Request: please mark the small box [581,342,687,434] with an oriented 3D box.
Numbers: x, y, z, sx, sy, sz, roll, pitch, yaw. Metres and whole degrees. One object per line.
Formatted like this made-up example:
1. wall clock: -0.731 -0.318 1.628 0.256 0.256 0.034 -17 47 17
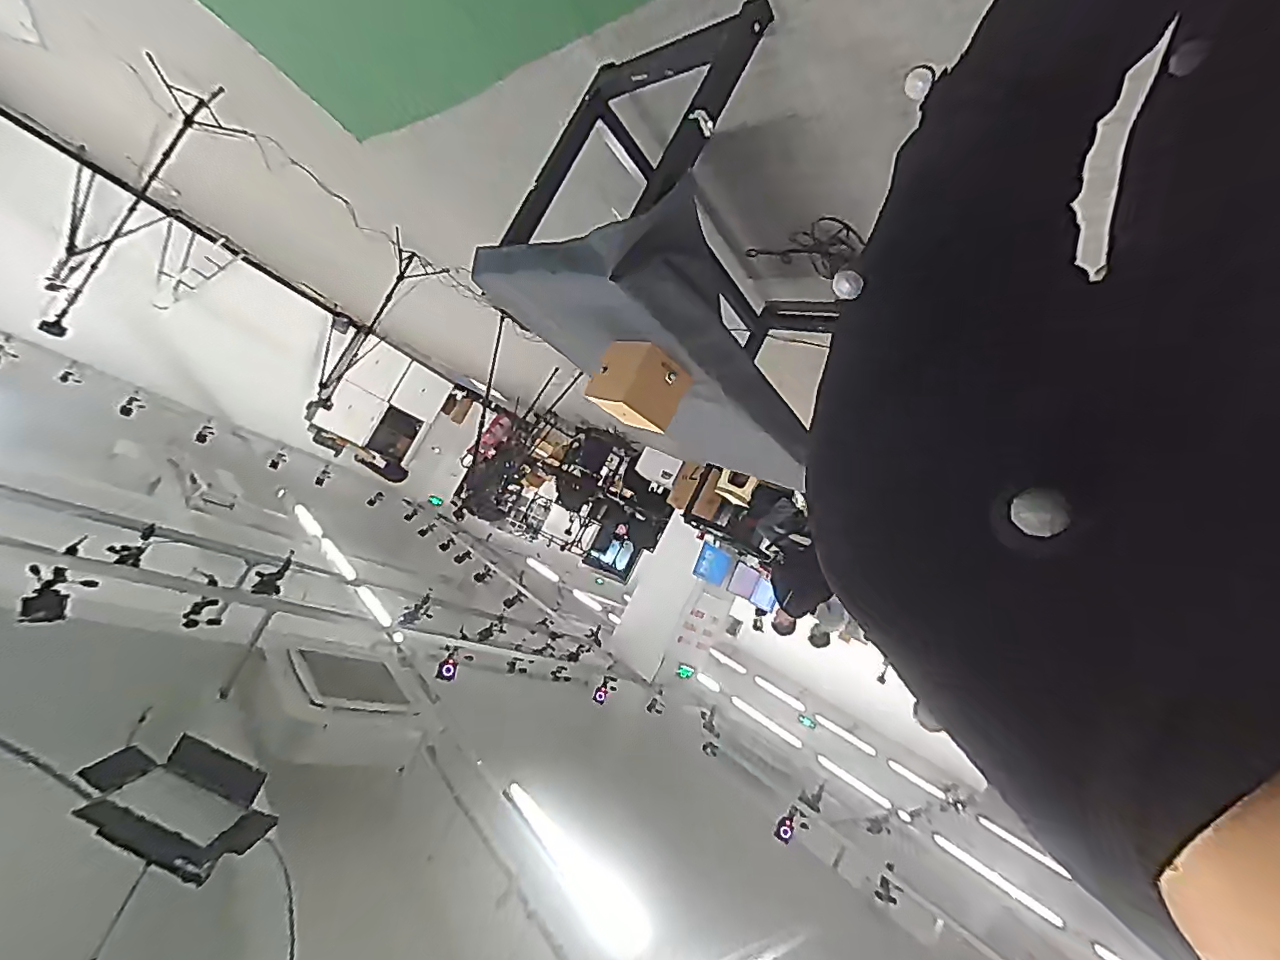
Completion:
1. small box: -0.013 -0.239 1.377 0.168 0.176 0.179 30 173 -39
